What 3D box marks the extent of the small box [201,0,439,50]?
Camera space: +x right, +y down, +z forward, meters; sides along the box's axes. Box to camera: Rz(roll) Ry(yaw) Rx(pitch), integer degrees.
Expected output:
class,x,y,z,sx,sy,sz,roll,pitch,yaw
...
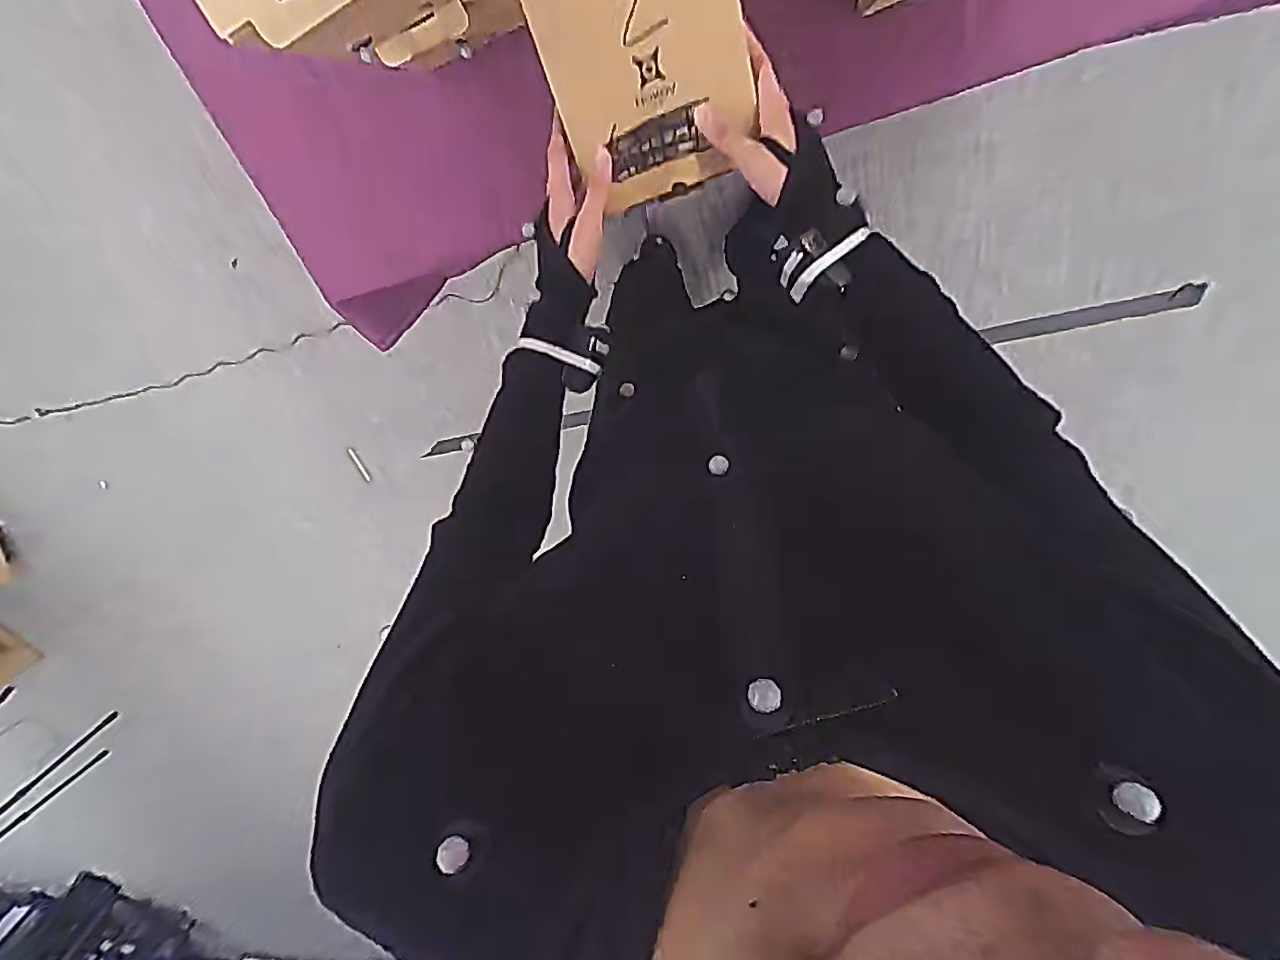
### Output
class,x,y,z,sx,sy,sz,roll,pitch,yaw
small box,-0.252,-0.458,0.404,0.168,0.176,0.179,-15,119,18

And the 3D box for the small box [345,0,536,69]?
class,x,y,z,sx,sy,sz,roll,pitch,yaw
small box,-0.227,-0.548,0.539,0.168,0.176,0.179,-11,121,17
